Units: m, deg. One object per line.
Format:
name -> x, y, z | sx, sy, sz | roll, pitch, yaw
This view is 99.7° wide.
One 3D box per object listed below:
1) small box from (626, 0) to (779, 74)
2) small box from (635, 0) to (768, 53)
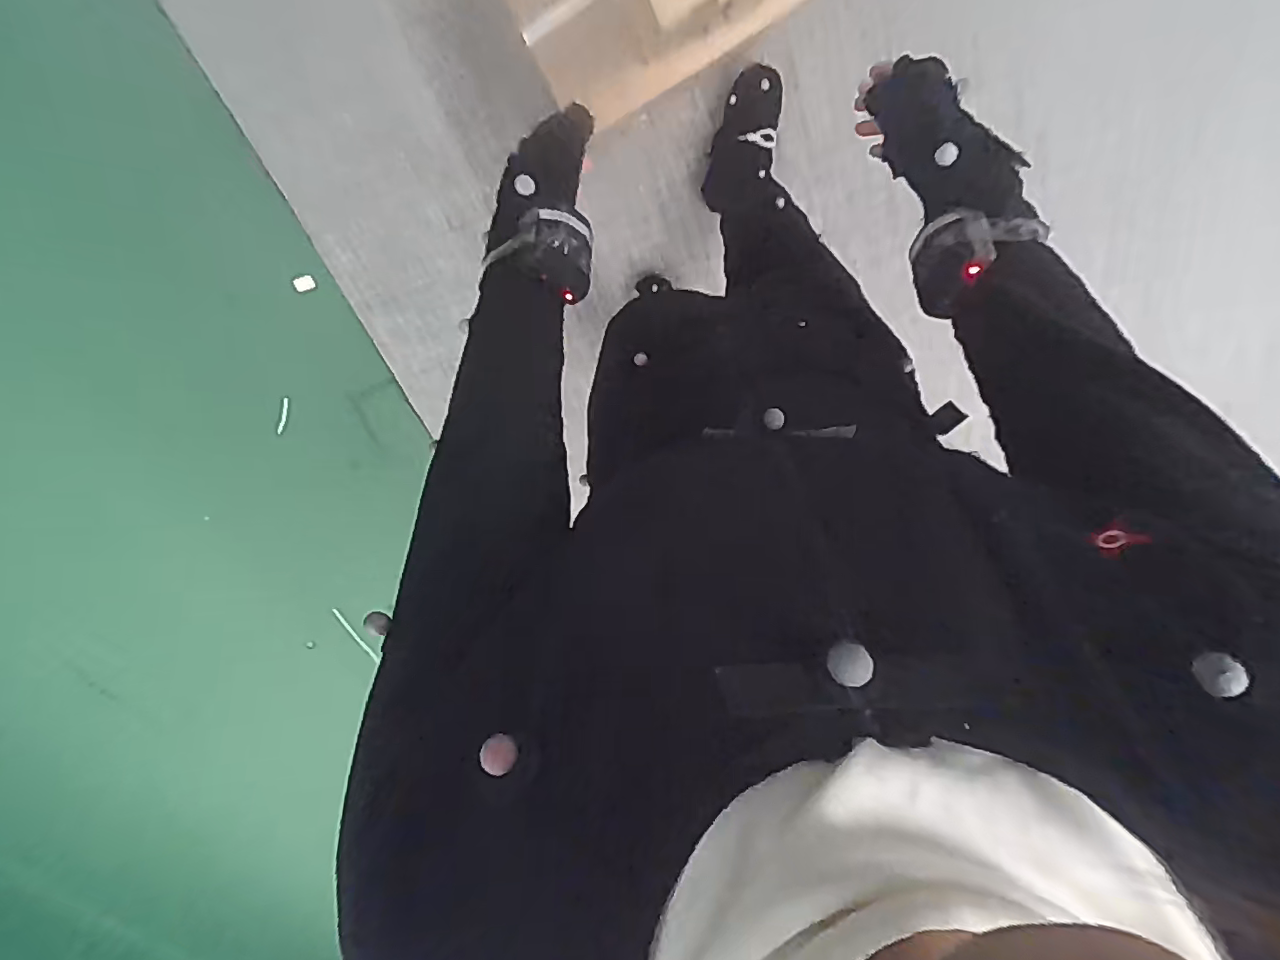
small box -> 0.066, -0.667, 0.702 | 0.179, 0.176, 0.168 | -20, 118, 13
small box -> 0.062, -0.583, 0.562 | 0.168, 0.176, 0.179 | -22, 118, 13
